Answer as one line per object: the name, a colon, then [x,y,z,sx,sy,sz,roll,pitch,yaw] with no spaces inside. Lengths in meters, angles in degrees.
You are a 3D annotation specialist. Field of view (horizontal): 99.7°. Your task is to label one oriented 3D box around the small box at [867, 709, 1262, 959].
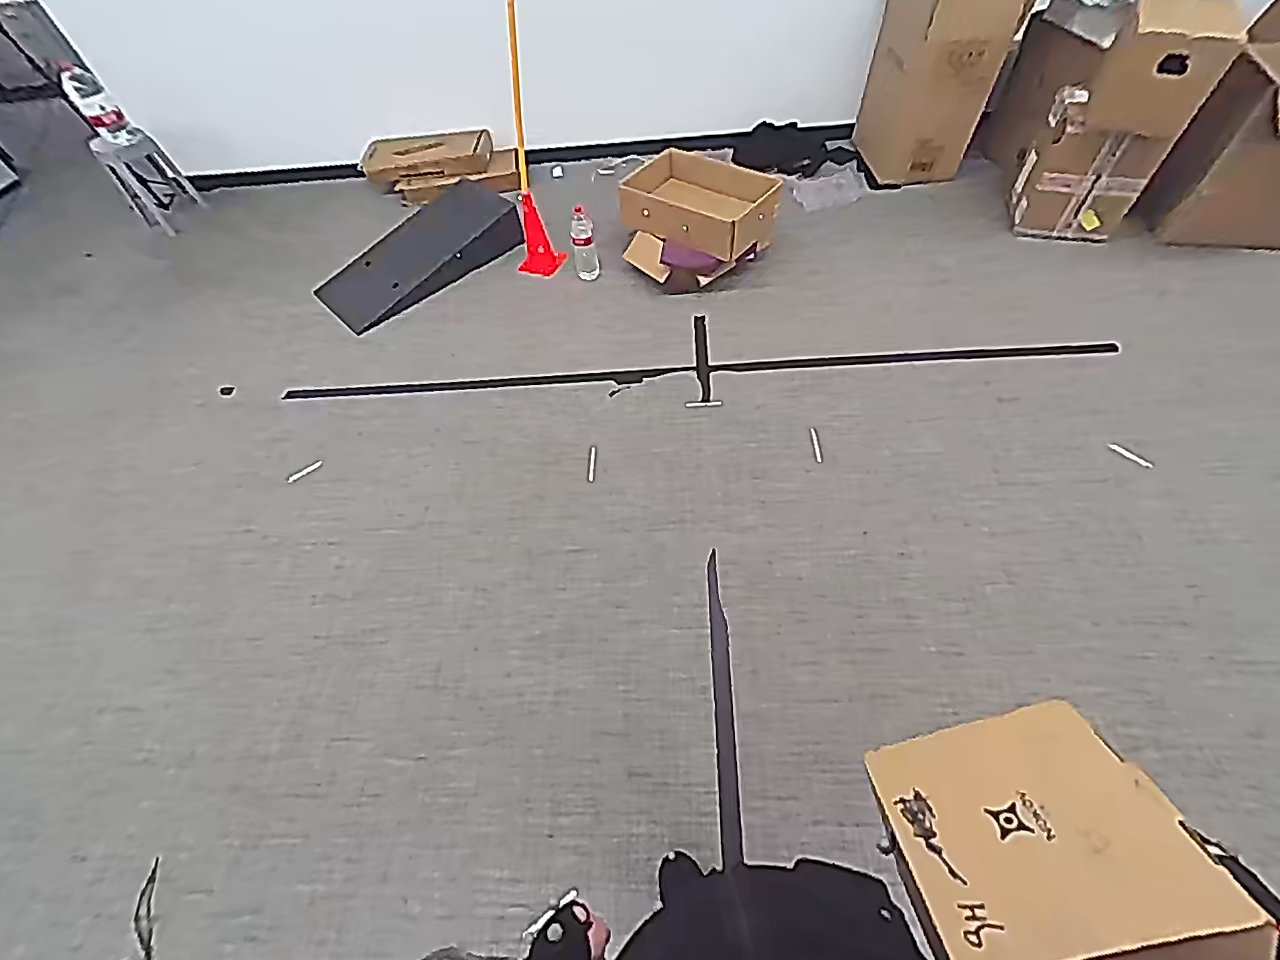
small box: [0.309,0.322,0.427,0.179,0.176,0.168,-20,21,8]
